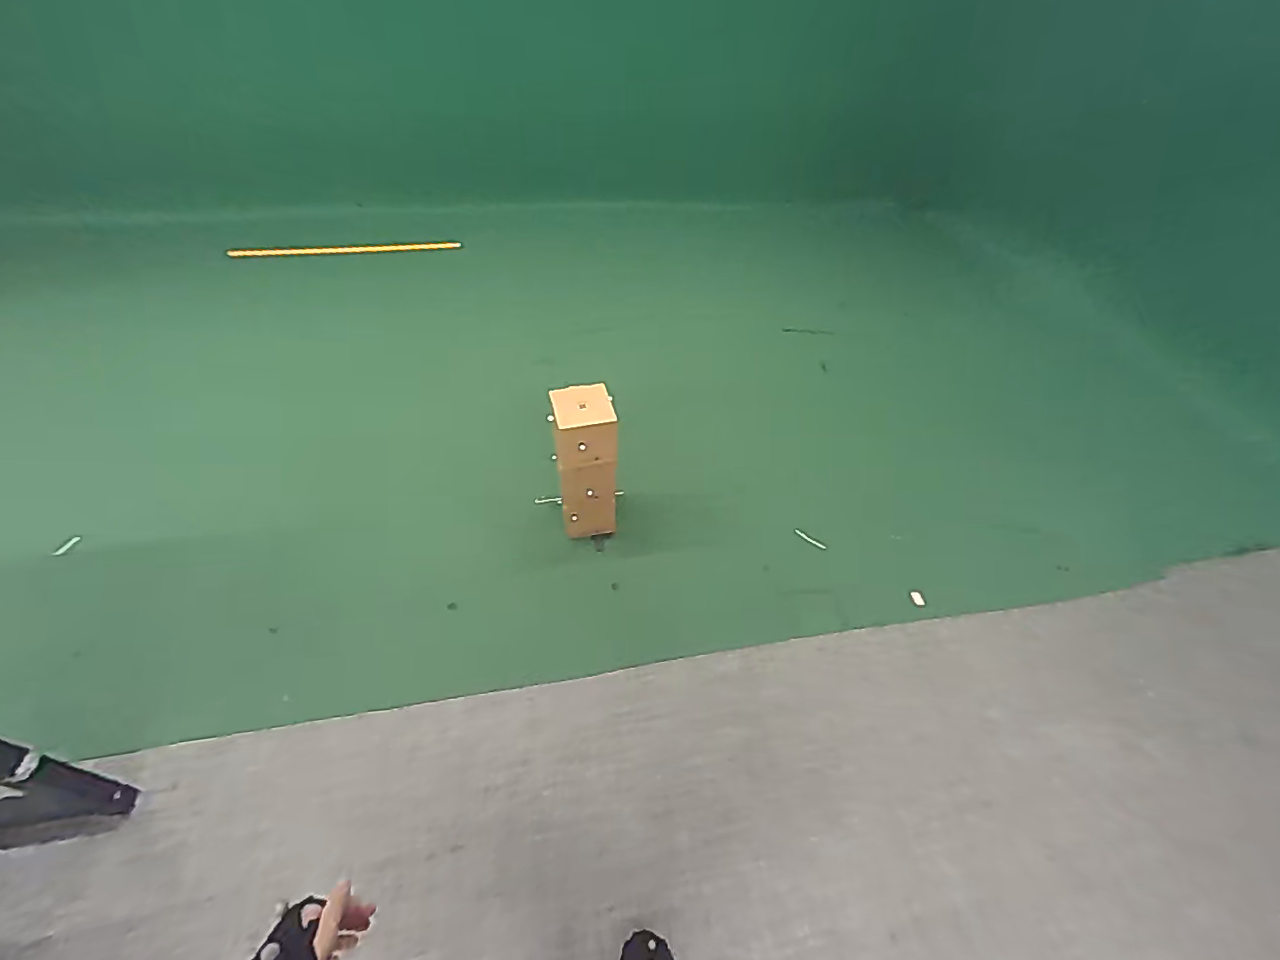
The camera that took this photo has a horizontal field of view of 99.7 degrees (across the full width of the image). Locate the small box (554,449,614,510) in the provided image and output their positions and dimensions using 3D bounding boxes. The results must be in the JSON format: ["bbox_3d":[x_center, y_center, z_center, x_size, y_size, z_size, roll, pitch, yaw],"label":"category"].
[{"bbox_3d":[-0.181,-0.030,1.715,0.168,0.176,0.179,-9,48,-11],"label":"small box"}]

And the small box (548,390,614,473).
[{"bbox_3d":[-0.172,-0.137,1.594,0.168,0.176,0.179,-10,48,-13],"label":"small box"}]
